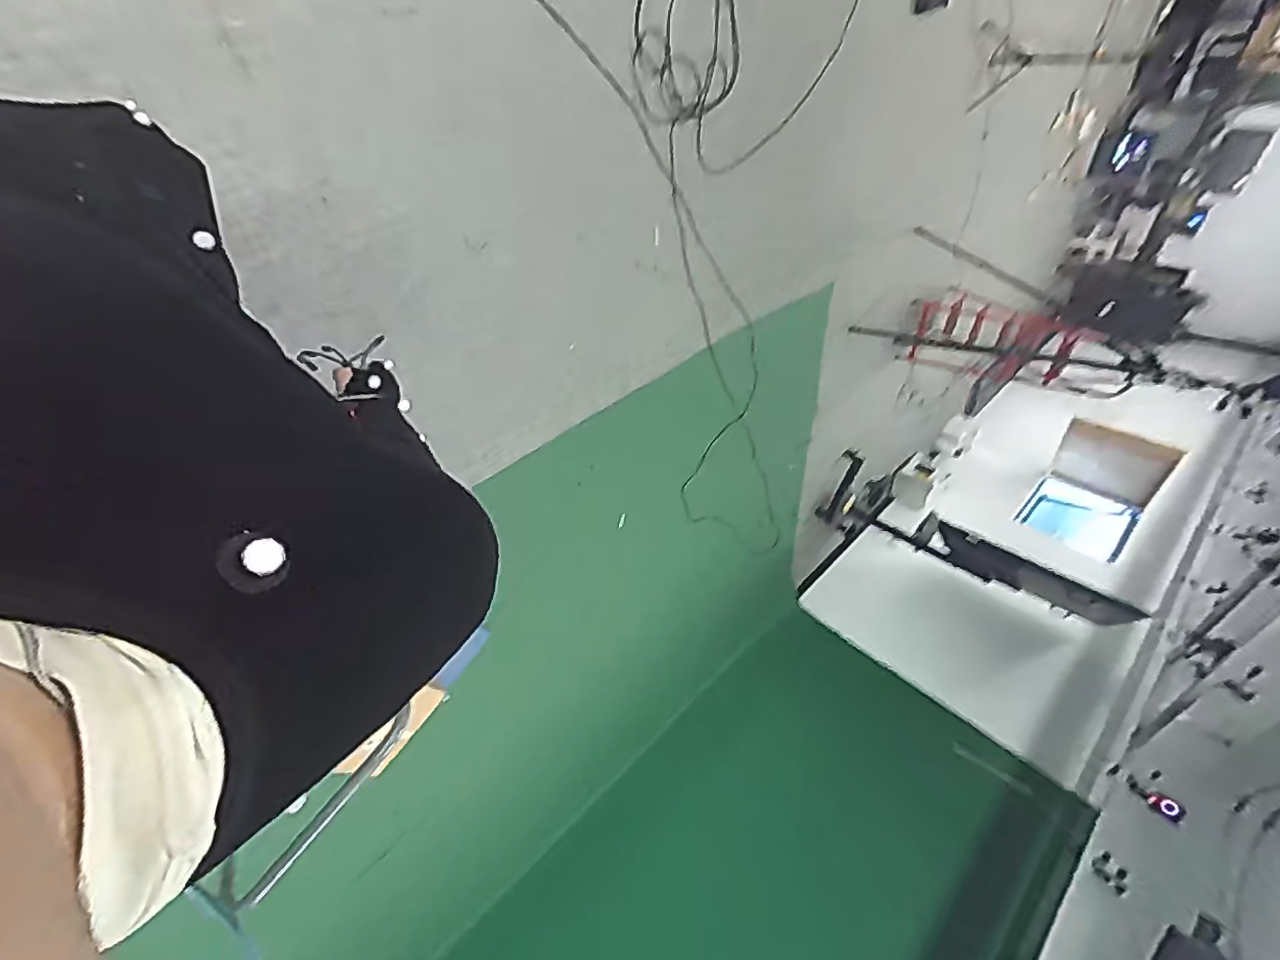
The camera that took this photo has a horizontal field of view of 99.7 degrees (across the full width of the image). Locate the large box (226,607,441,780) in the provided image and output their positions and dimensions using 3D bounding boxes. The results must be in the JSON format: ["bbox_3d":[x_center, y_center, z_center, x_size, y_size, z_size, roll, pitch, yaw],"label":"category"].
[{"bbox_3d":[-0.894,0.635,1.604,0.320,0.320,0.408,-49,144,-13],"label":"large box"}]
